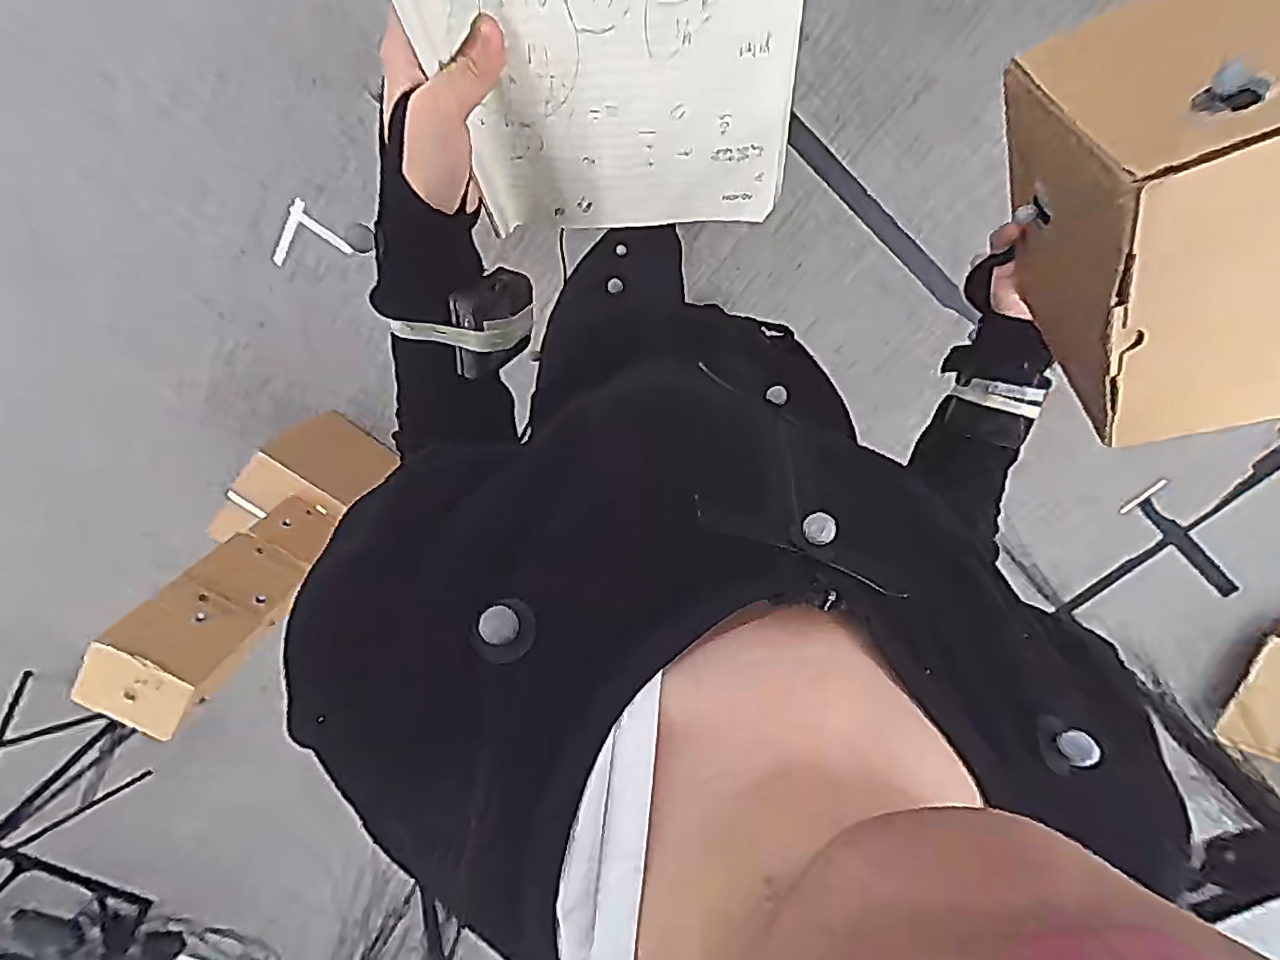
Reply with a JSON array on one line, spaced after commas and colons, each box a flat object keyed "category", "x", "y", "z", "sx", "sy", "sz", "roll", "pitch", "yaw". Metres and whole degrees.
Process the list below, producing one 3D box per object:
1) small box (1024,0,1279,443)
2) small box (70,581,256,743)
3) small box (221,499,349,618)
[{"category": "small box", "x": 0.318, "y": -0.149, "z": 0.266, "sx": 0.179, "sy": 0.176, "sz": 0.168, "roll": -13, "pitch": 137, "yaw": 27}, {"category": "small box", "x": -0.832, "y": 0.318, "z": 0.959, "sx": 0.168, "sy": 0.176, "sz": 0.179, "roll": 35, "pitch": 112, "yaw": -15}, {"category": "small box", "x": -0.813, "y": 0.176, "z": 1.256, "sx": 0.168, "sy": 0.176, "sz": 0.179, "roll": 33, "pitch": 114, "yaw": -13}]
